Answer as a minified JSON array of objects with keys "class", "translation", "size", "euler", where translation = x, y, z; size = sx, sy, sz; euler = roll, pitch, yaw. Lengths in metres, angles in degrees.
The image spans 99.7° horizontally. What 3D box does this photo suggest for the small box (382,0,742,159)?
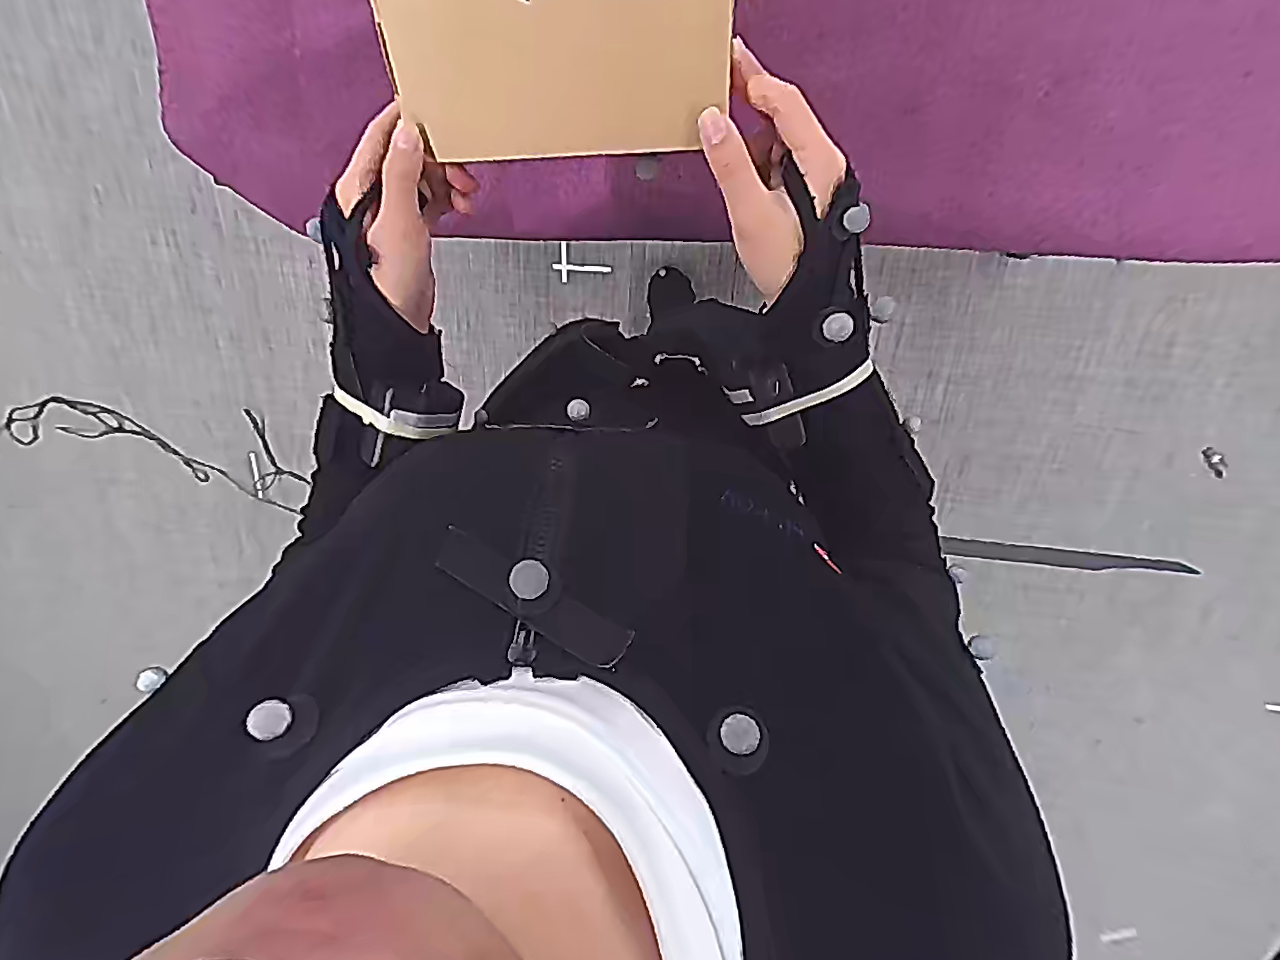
[{"class":"small box","translation":[-0.031,-0.289,0.310],"size":[0.179,0.176,0.168],"euler":[2,125,7]}]
